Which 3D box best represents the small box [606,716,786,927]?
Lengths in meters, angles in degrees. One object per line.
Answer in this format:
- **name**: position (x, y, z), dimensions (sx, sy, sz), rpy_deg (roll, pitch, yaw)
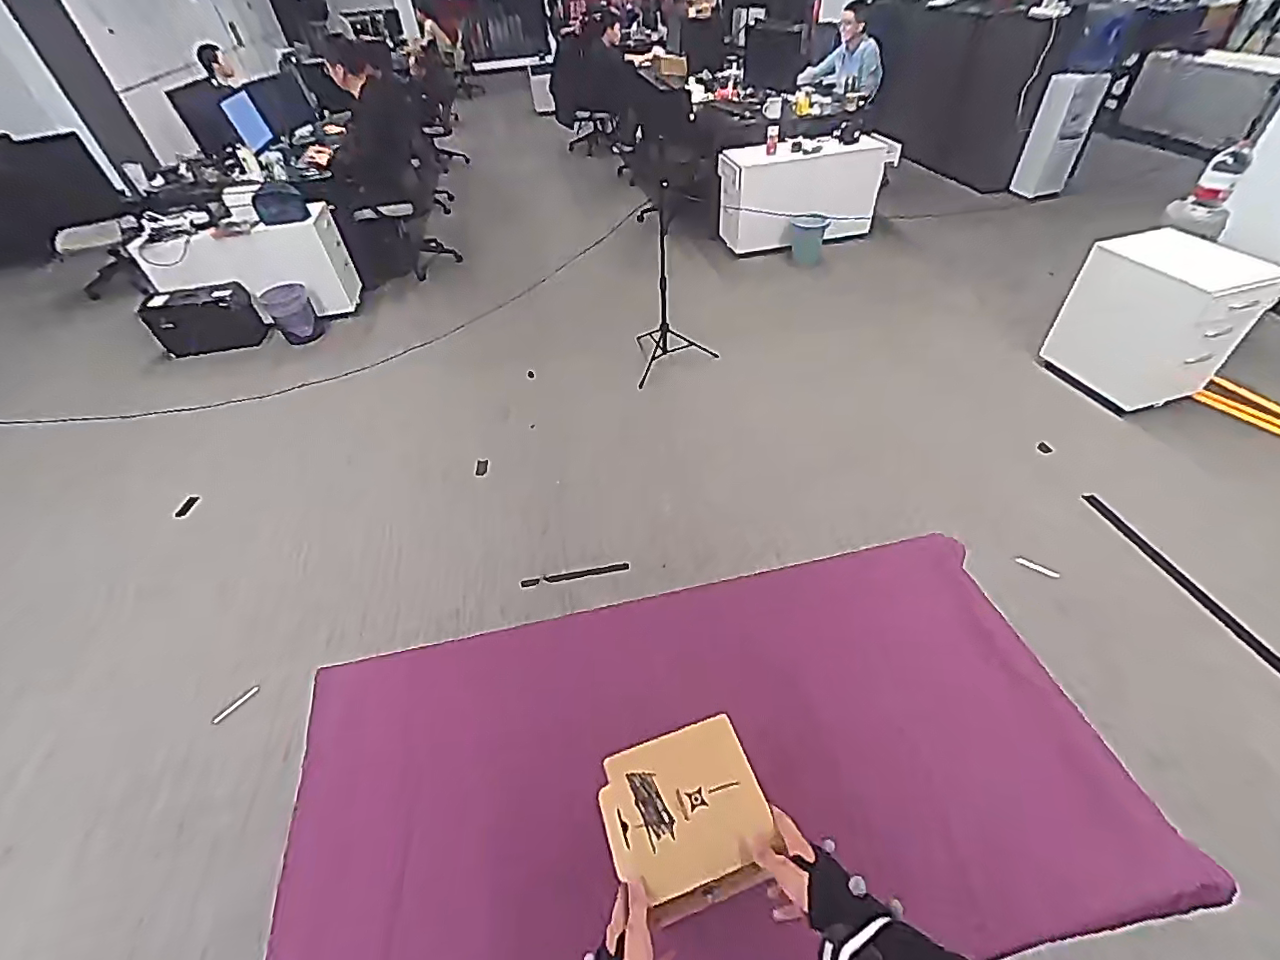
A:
- **small box**: position (0.067, 0.448, 0.710), dimensions (0.179, 0.176, 0.168), rpy_deg (-15, 45, -11)
